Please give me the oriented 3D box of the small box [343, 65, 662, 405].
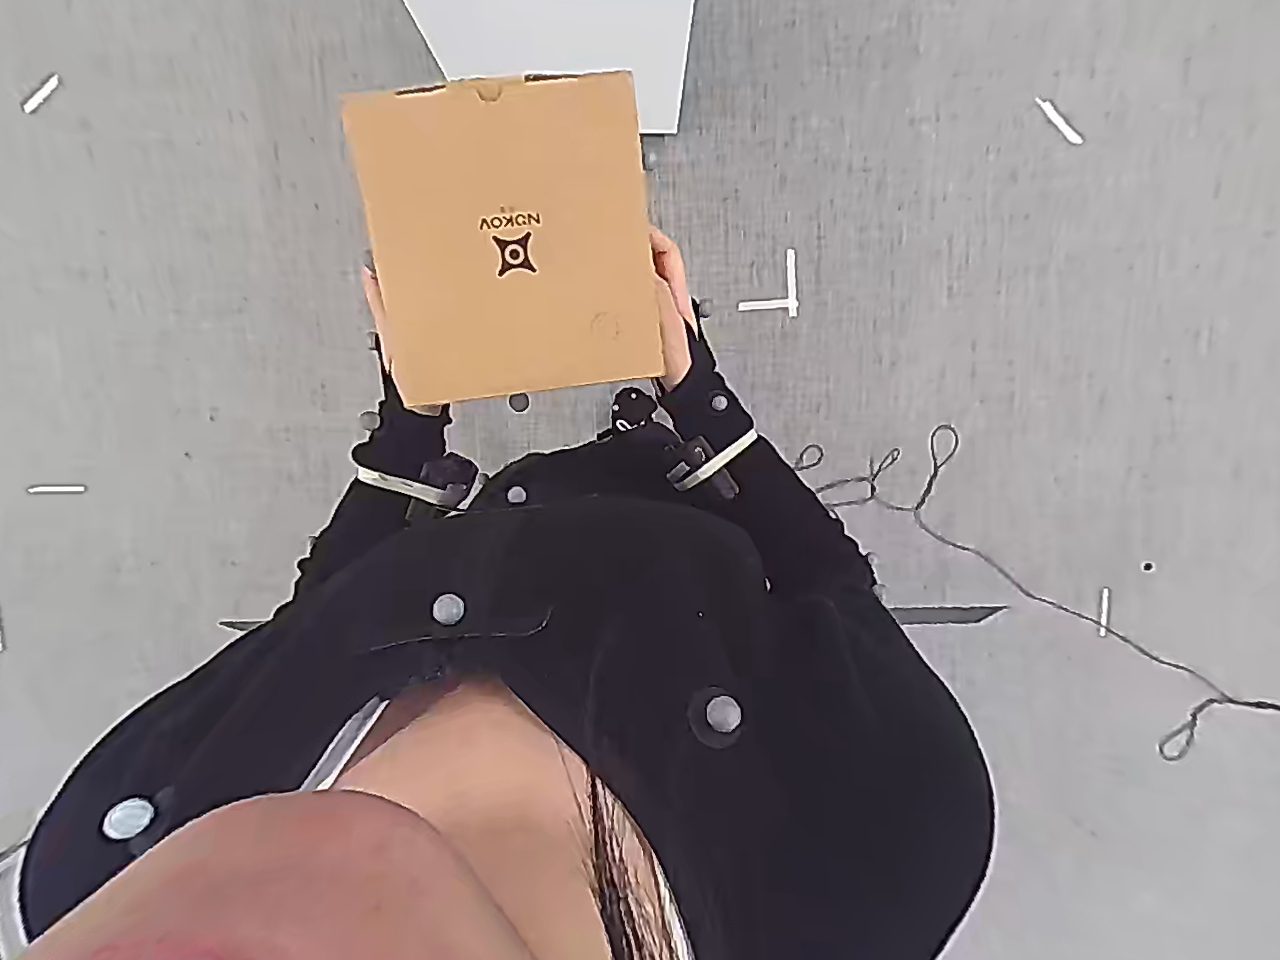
[{"bbox_3d":[-0.081,-0.158,0.399,0.168,0.176,0.179,-9,102,-3],"label":"small box"}]
